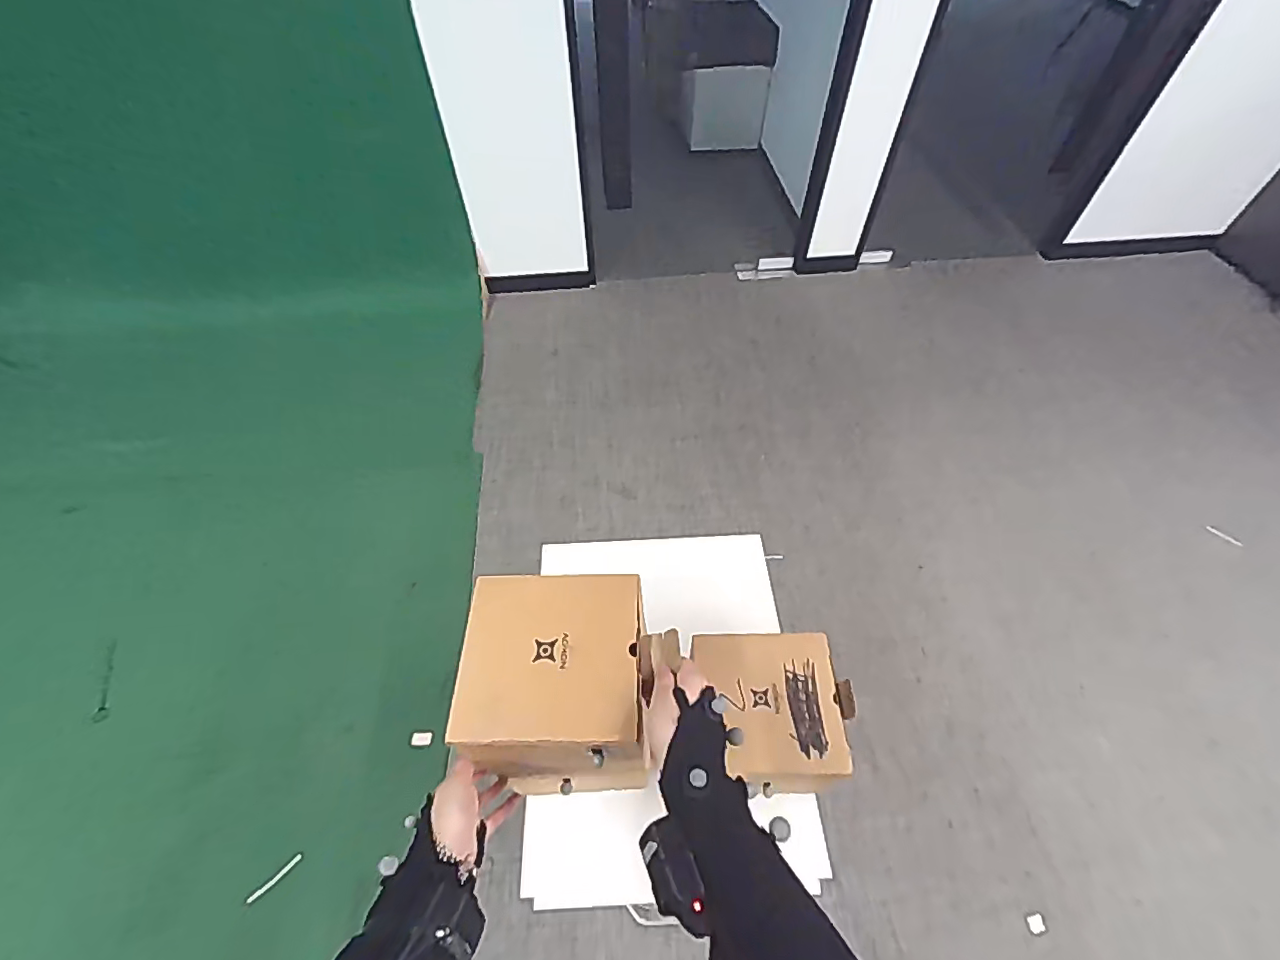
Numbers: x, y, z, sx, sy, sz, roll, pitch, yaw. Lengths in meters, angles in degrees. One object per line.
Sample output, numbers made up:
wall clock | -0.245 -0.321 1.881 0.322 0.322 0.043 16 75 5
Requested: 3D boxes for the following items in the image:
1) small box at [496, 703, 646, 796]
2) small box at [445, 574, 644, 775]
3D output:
small box | -0.083 0.317 0.726 0.179 0.176 0.168 -2 53 -3
small box | -0.086 0.217 0.592 0.179 0.176 0.168 0 51 1
